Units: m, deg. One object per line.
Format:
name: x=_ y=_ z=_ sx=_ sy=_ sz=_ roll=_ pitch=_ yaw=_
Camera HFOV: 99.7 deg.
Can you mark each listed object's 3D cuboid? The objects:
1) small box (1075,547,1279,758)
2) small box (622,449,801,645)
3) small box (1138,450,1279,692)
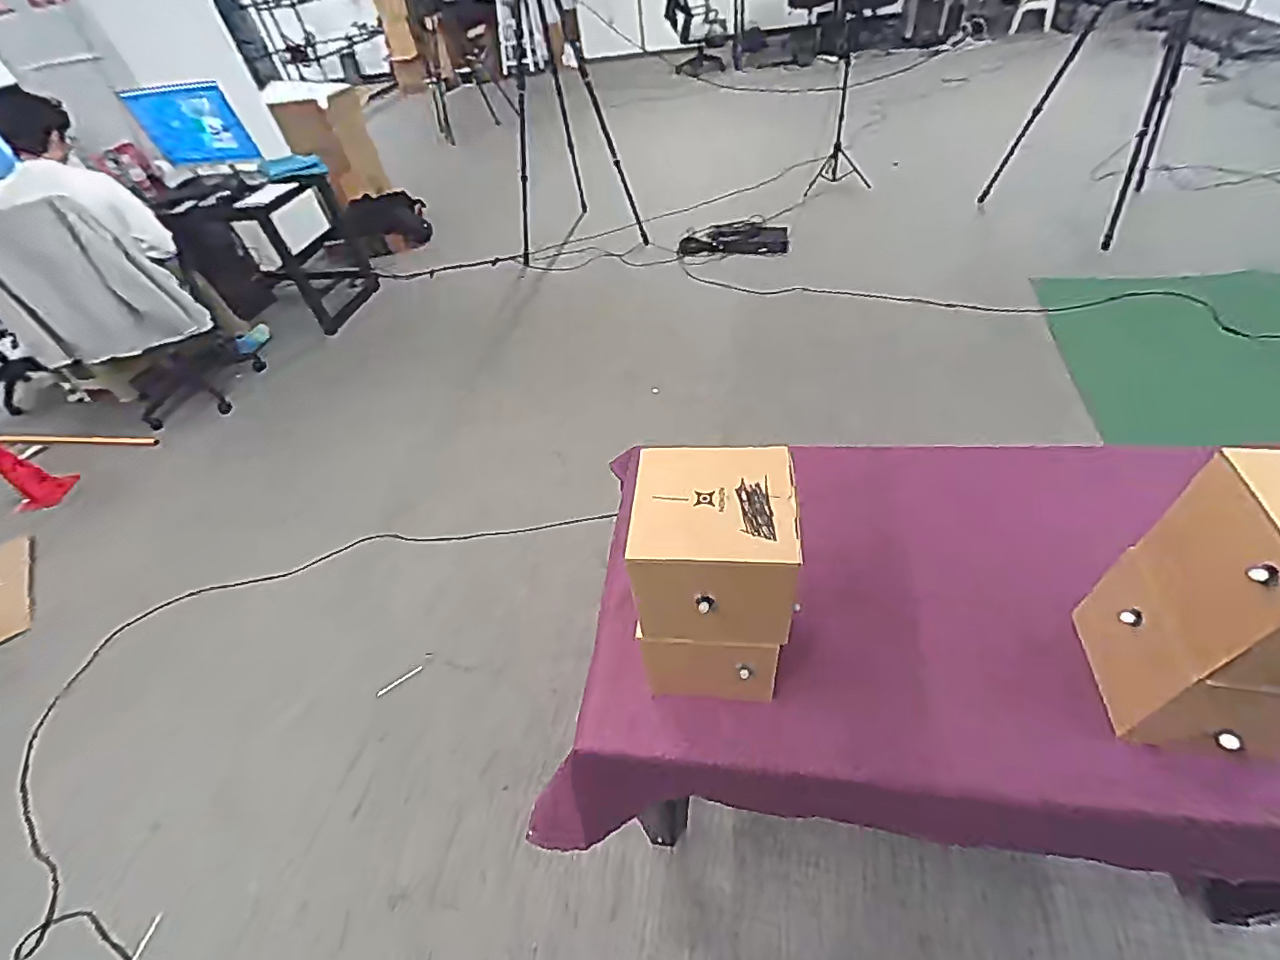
small box: x=0.669 y=0.204 z=0.647 sx=0.168 sy=0.176 sz=0.179 roll=3 pitch=48 yaw=13
small box: x=0.085 y=0.081 z=0.637 sx=0.179 sy=0.176 sz=0.168 roll=-1 pitch=47 yaw=9
small box: x=0.652 y=0.092 z=0.529 sx=0.168 sy=0.176 sz=0.179 roll=3 pitch=48 yaw=13
